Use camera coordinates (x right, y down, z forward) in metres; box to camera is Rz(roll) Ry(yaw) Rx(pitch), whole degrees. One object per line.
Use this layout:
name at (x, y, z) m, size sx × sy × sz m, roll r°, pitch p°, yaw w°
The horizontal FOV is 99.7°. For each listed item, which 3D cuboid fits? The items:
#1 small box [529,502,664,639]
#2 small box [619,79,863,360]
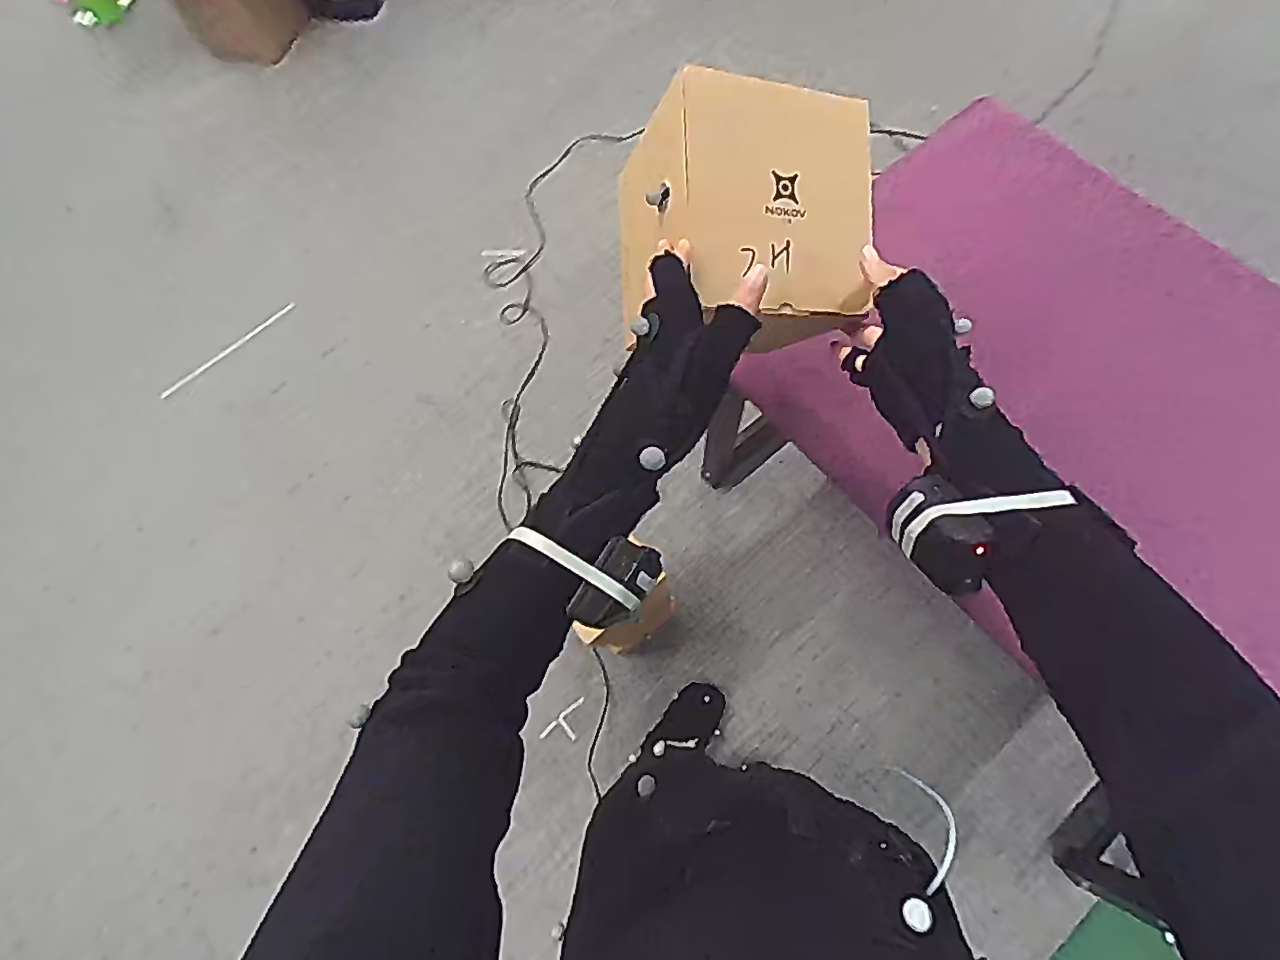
small box at (-0.071, 0.171, 0.991) m, size 0.179 × 0.176 × 0.168 m, roll -39°, pitch 74°, yaw -7°
small box at (0.081, -0.215, 0.500) m, size 0.168 × 0.176 × 0.179 m, roll -3°, pitch 93°, yaw -18°
